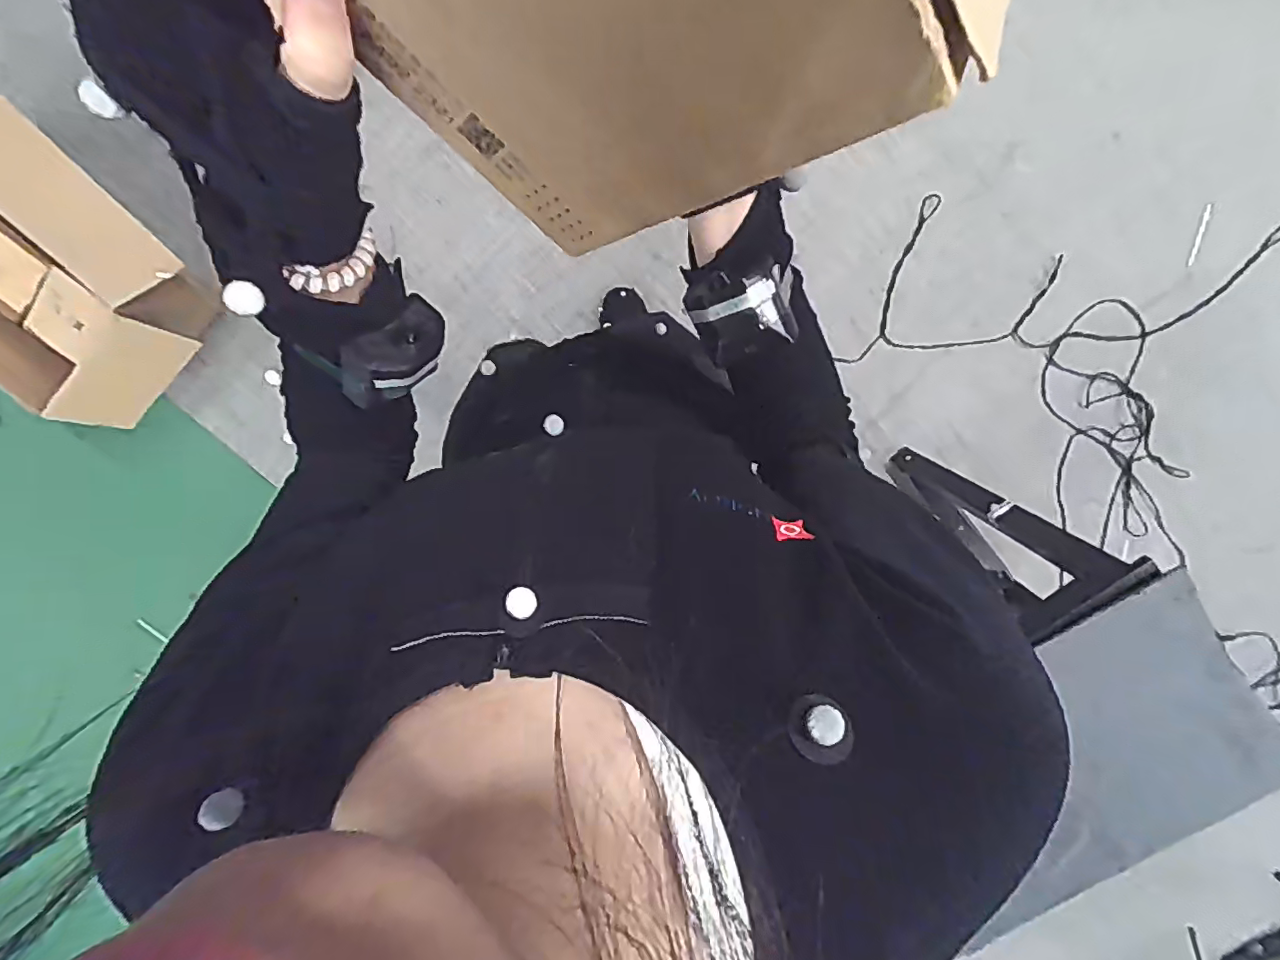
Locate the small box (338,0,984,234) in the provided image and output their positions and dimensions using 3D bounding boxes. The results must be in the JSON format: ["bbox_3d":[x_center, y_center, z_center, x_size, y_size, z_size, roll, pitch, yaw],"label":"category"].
[{"bbox_3d":[0.002,-0.212,0.166,0.168,0.176,0.179,33,74,-38],"label":"small box"}]
